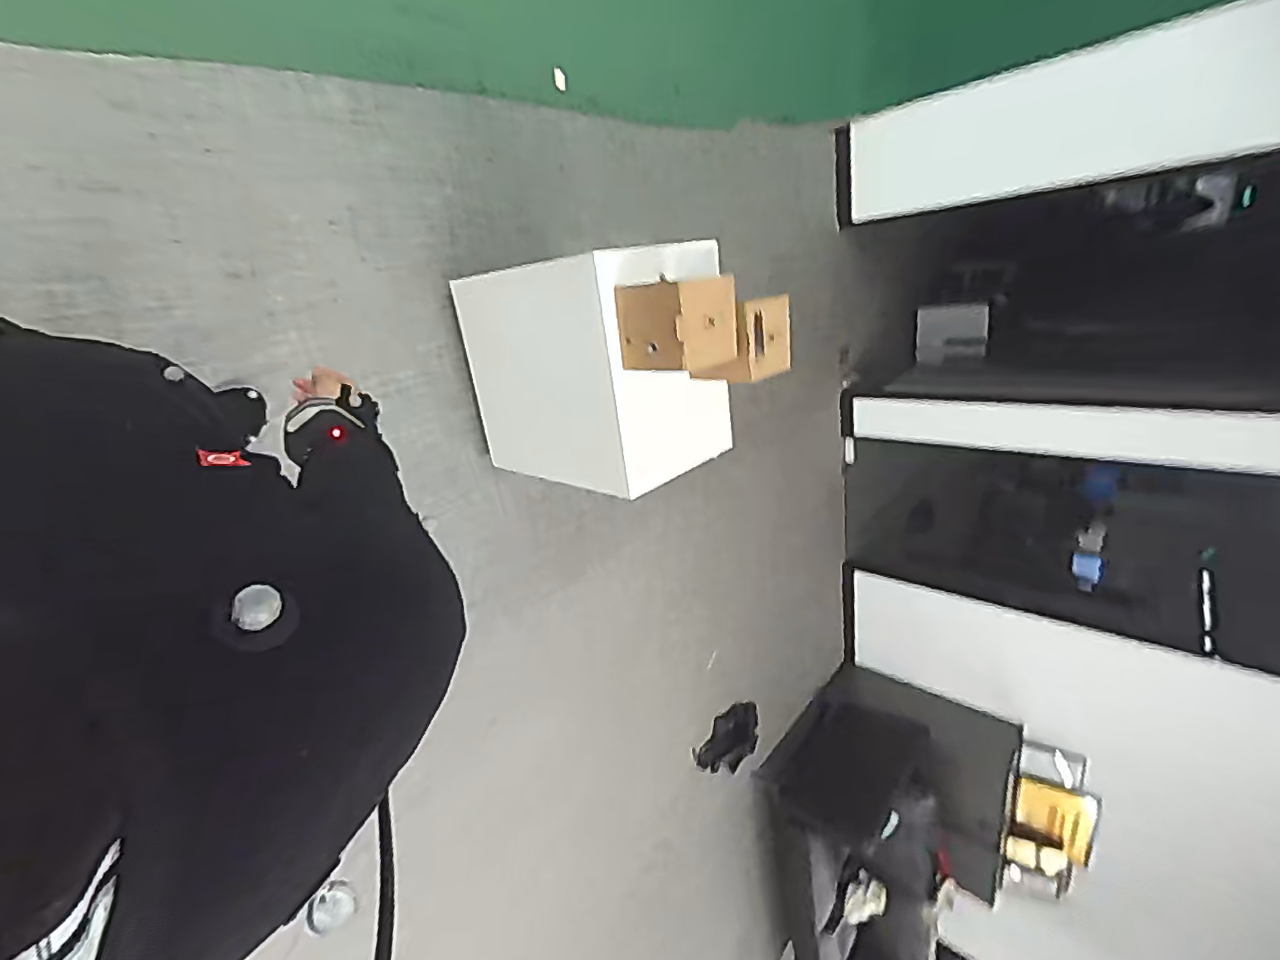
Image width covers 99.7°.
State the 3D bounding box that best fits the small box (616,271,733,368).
[{"bbox_3d":[0.066,-0.320,1.079,0.179,0.176,0.168,-27,119,-43],"label":"small box"}]
